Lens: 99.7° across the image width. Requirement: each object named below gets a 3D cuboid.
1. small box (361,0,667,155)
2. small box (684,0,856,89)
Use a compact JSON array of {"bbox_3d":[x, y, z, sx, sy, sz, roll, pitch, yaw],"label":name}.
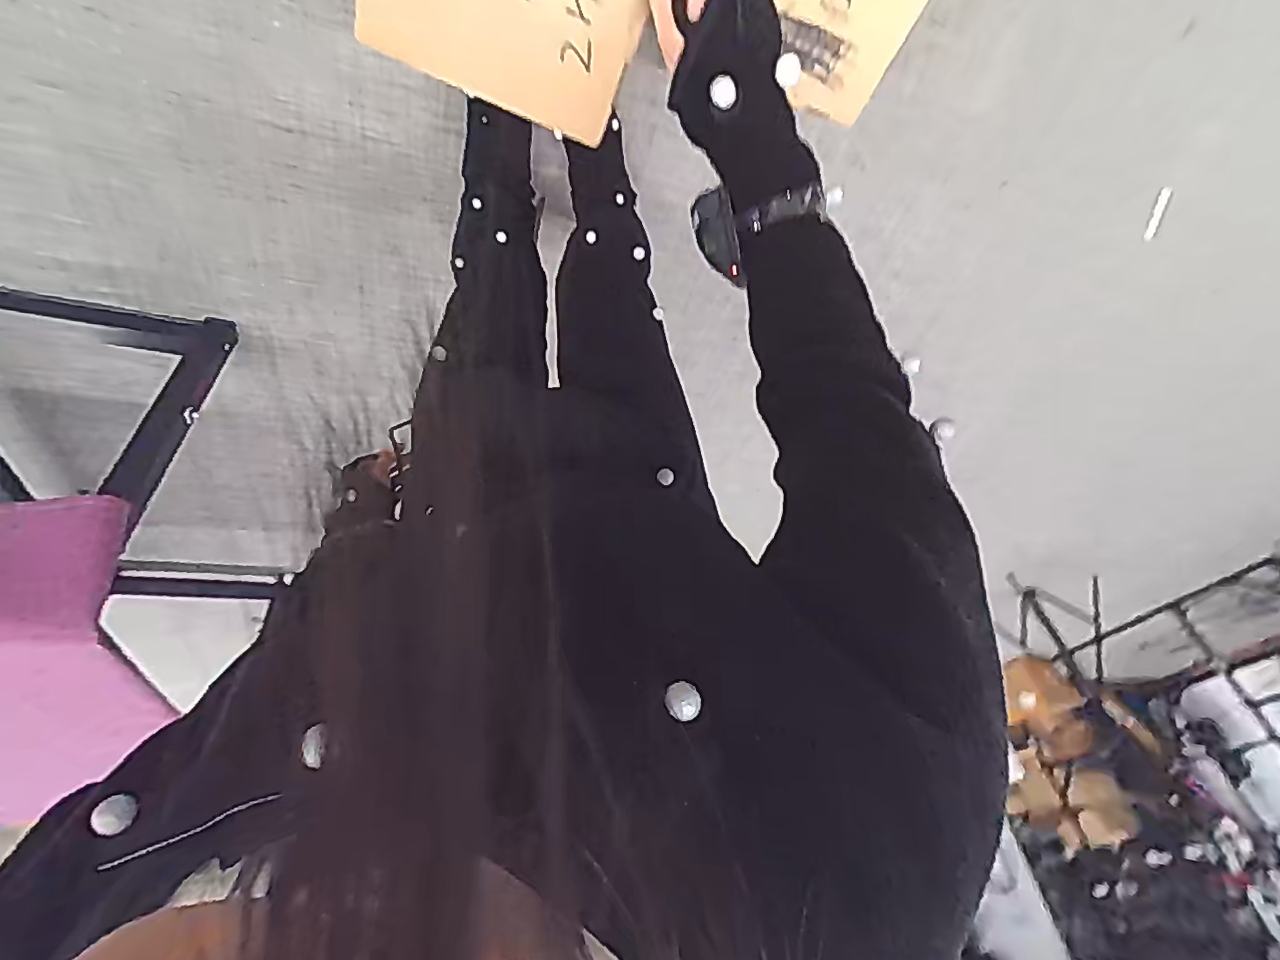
[{"bbox_3d":[-0.079,-0.376,0.378,0.179,0.176,0.168,10,139,-25],"label":"small box"},{"bbox_3d":[0.165,-0.630,0.659,0.168,0.176,0.179,8,138,-21],"label":"small box"}]
